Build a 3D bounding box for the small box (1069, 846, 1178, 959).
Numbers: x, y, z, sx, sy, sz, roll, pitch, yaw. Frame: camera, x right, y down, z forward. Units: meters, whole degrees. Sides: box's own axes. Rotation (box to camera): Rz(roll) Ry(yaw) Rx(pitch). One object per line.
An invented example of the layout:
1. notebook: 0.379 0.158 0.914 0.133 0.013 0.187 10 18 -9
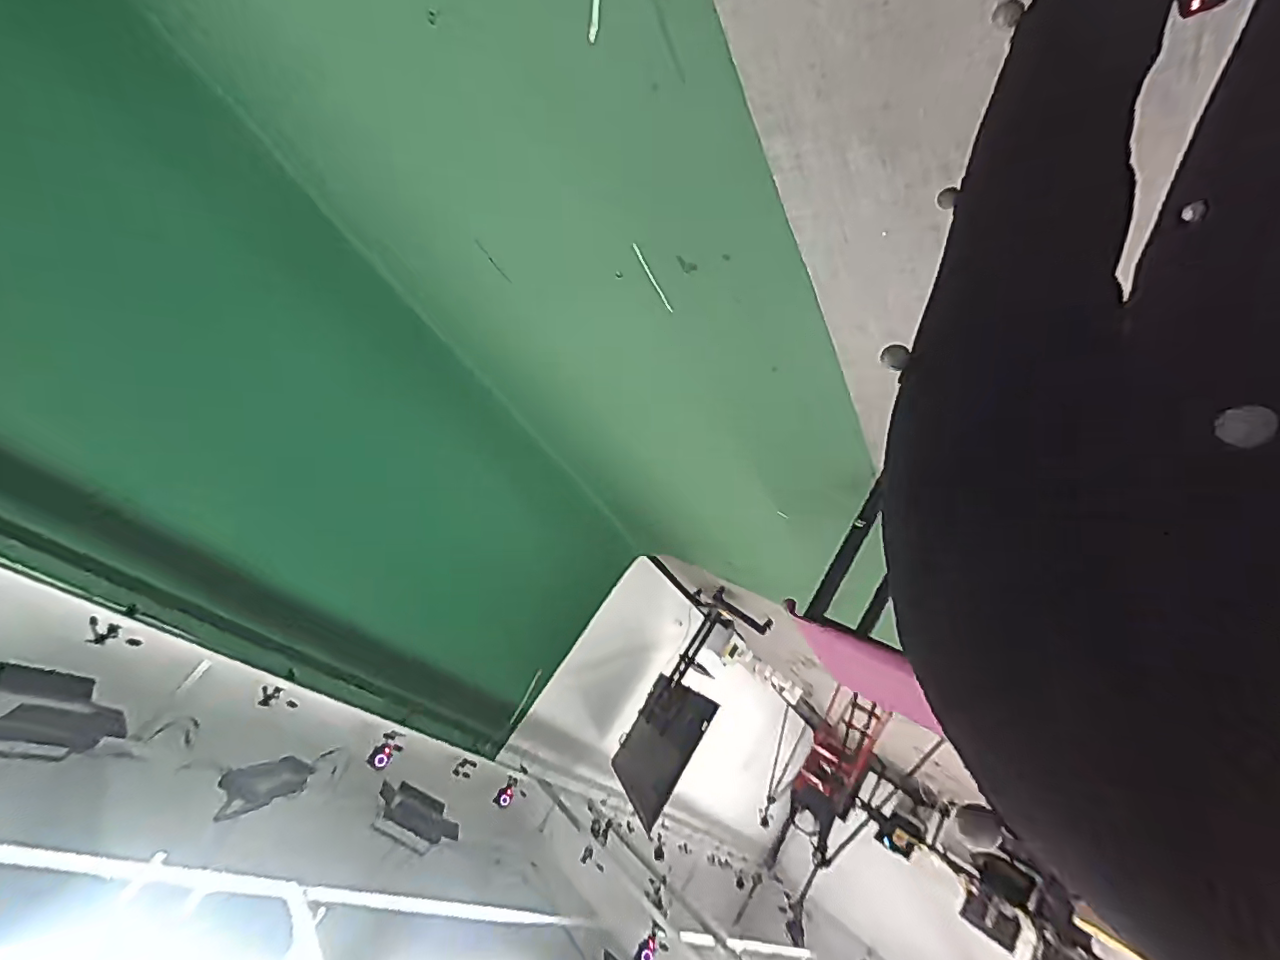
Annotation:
1. small box: 1.195 1.052 1.341 0.168 0.176 0.179 18 154 45
